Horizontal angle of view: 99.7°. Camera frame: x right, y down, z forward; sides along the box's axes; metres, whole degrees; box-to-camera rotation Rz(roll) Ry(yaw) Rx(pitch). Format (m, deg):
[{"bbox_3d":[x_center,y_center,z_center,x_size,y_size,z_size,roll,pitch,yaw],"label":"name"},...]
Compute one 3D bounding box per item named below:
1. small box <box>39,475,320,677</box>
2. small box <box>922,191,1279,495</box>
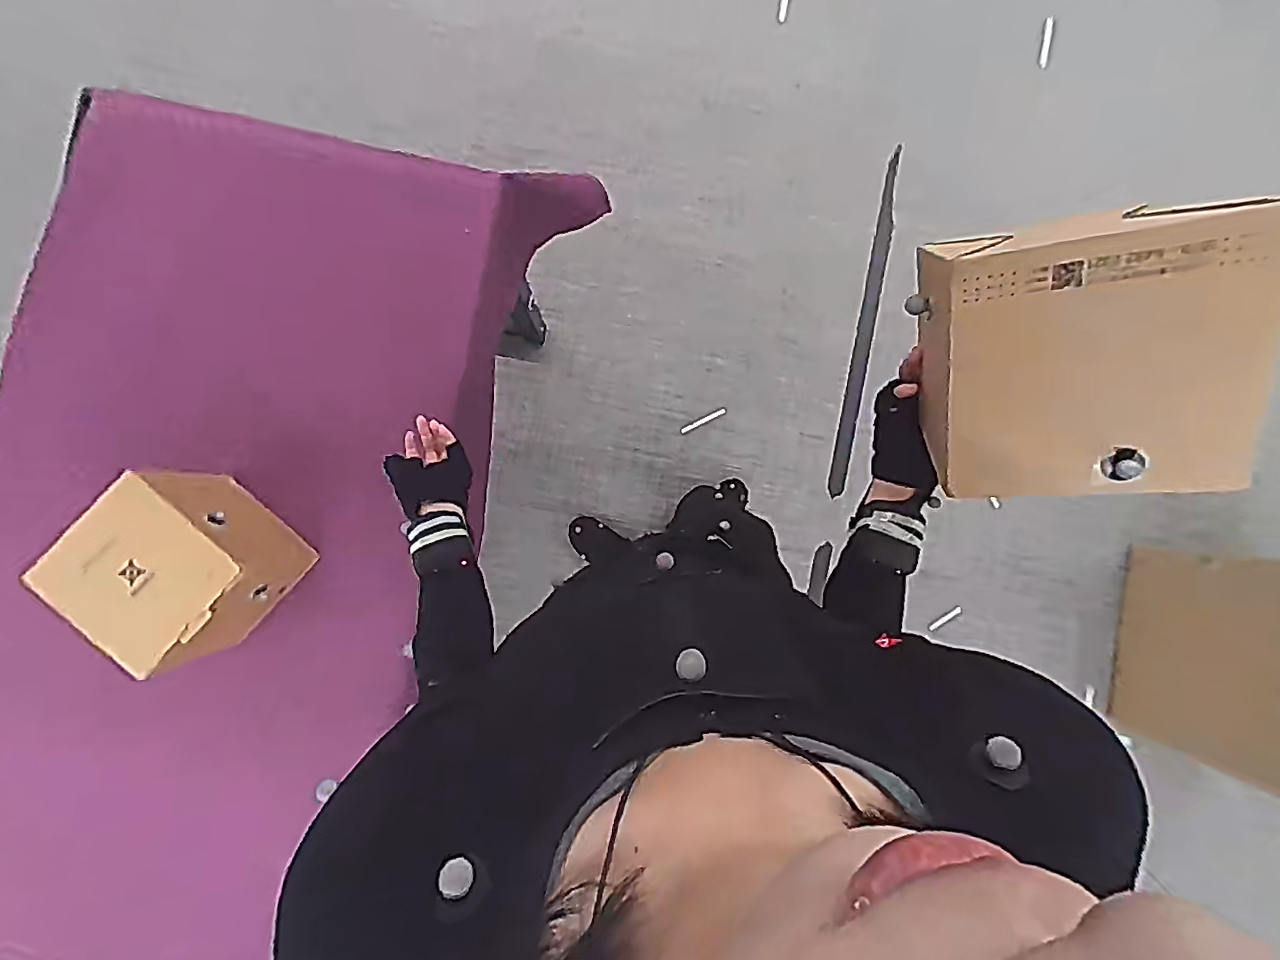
[{"bbox_3d":[-0.564,0.110,0.692,0.179,0.176,0.168,41,86,0],"label":"small box"},{"bbox_3d":[0.308,-0.103,0.396,0.168,0.179,0.176,-2,114,23],"label":"small box"}]
